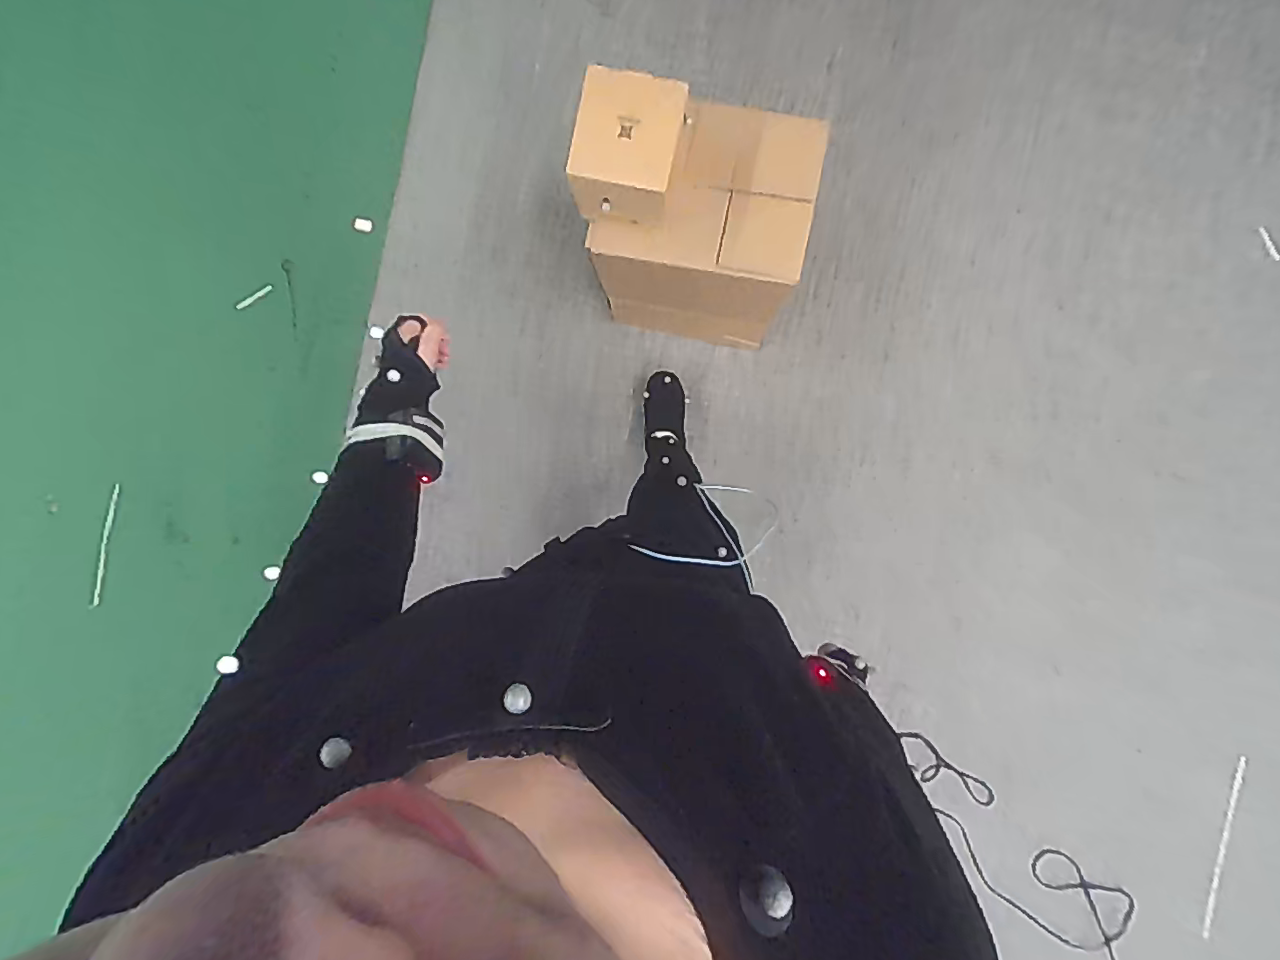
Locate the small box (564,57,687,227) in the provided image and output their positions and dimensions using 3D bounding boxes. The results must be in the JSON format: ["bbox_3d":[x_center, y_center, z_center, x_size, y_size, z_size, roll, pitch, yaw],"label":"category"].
[{"bbox_3d":[-0.019,-0.564,0.927,0.168,0.176,0.179,13,93,1],"label":"small box"}]
